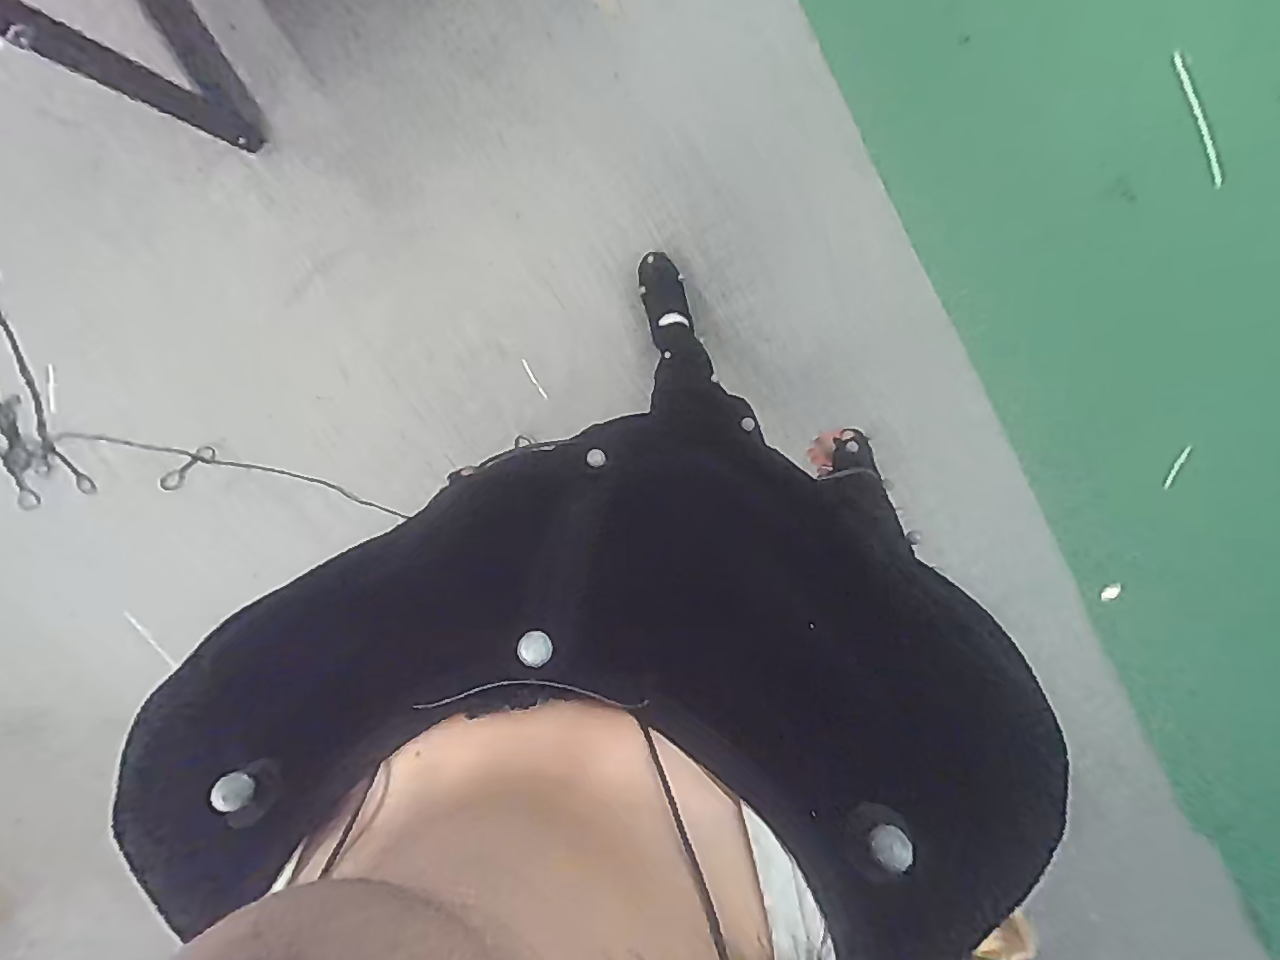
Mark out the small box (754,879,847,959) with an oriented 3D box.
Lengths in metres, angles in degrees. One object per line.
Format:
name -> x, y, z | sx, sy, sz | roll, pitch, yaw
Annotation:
small box -> 0.365, 1.037, 1.208 | 0.168, 0.176, 0.179 | -18, 101, 6
